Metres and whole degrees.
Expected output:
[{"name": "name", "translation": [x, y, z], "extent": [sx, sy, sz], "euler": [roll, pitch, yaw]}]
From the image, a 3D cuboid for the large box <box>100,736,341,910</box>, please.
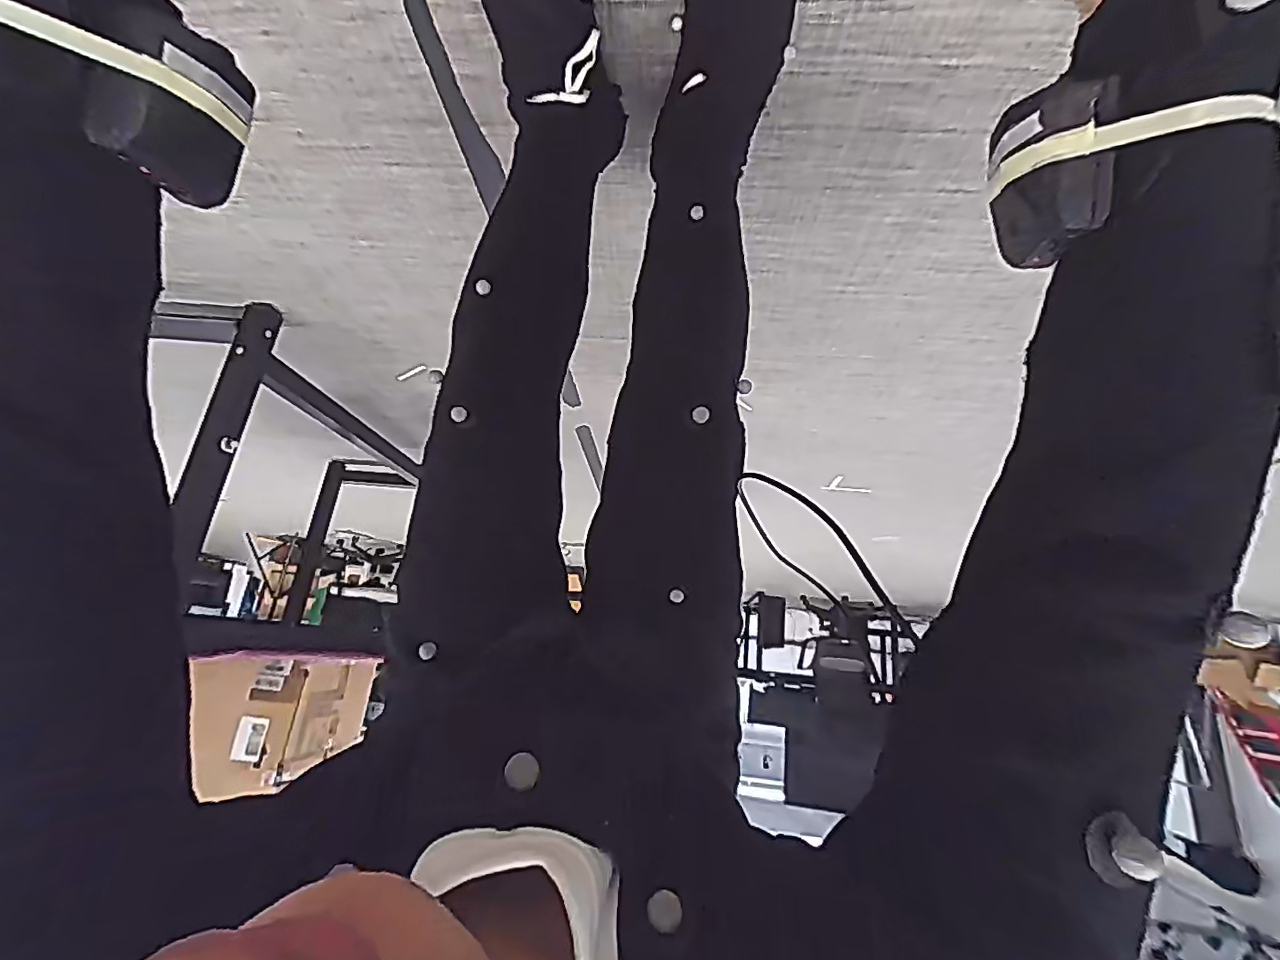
[{"name": "large box", "translation": [-1.152, 0.940, 1.531], "extent": [0.408, 0.320, 0.320], "euler": [5, 166, 3]}]
